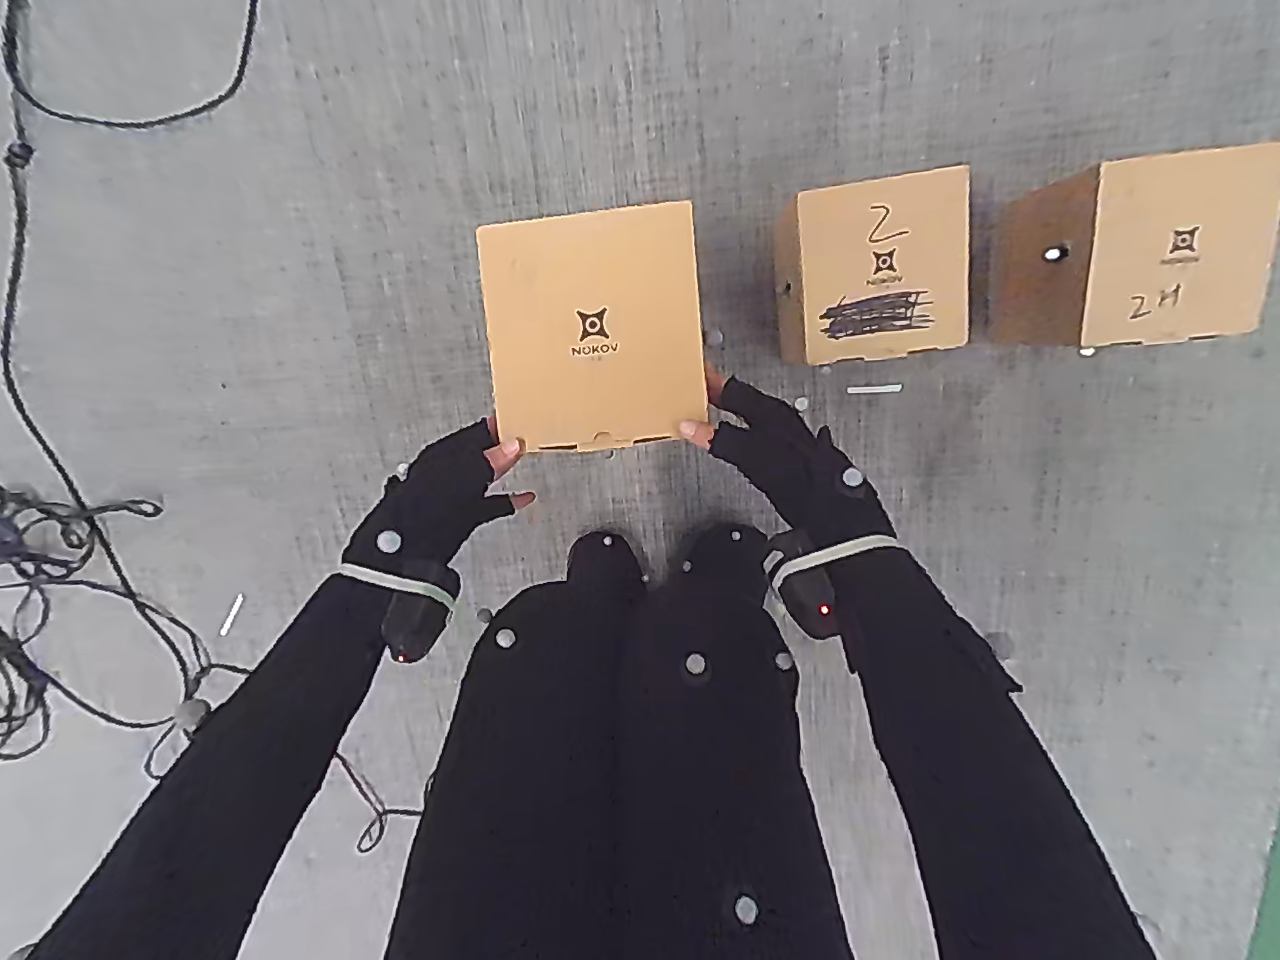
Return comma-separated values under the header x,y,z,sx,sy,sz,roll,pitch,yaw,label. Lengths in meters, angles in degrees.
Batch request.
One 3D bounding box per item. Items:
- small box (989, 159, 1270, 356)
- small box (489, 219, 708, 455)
x,y,z,sx,sy,sz,roll,pitch,yaw,label
0.529,-0.236,0.616,0.168,0.176,0.179,-3,104,7,small box
-0.028,-0.117,0.510,0.168,0.176,0.179,-5,94,5,small box
